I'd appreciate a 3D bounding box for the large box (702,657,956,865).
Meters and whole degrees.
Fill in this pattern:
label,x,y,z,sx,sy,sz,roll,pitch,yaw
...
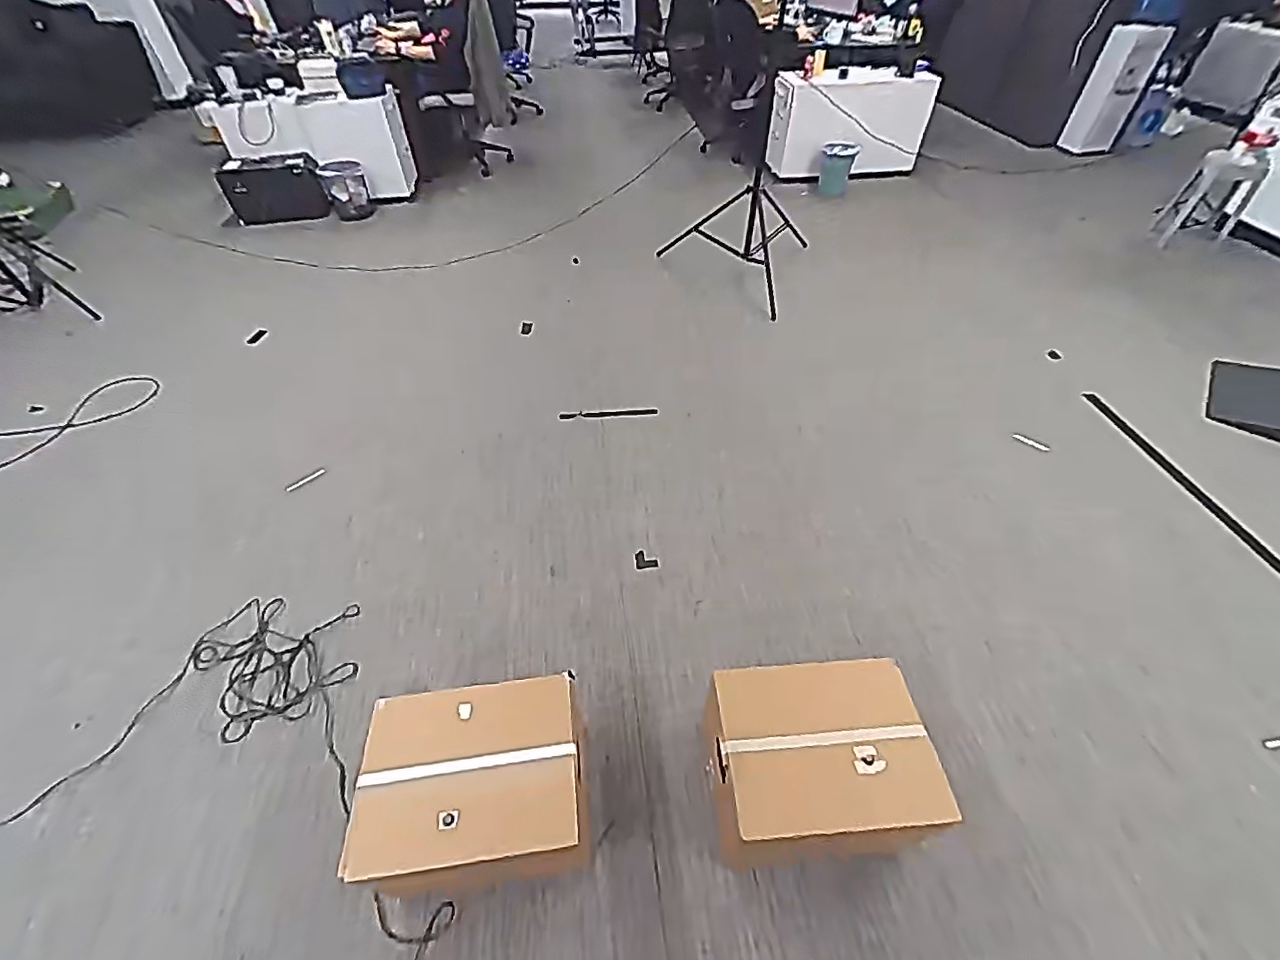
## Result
label,x,y,z,sx,sy,sz,roll,pitch,yaw
large box,0.367,0.614,1.181,0.408,0.320,0.320,-2,47,-3
